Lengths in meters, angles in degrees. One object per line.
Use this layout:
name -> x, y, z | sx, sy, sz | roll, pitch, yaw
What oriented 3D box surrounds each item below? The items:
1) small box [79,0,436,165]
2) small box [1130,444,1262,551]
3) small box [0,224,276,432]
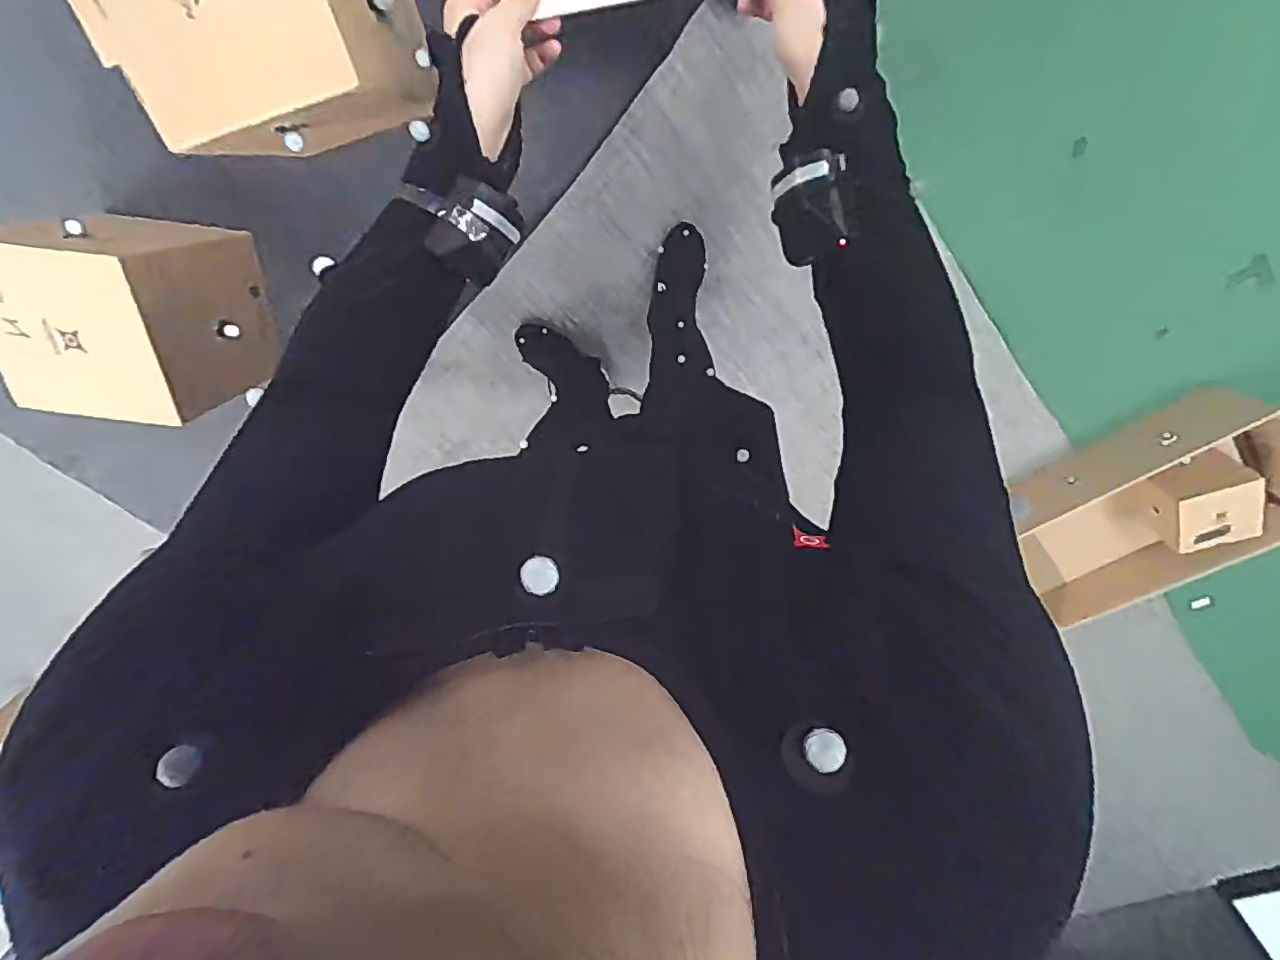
small box -> -0.289, -0.369, 0.431 | 0.179, 0.176, 0.168 | -9, 120, 12
small box -> 1.359, 0.041, 1.336 | 0.168, 0.176, 0.179 | -21, 118, 18
small box -> -0.529, -0.169, 0.576 | 0.179, 0.176, 0.168 | 7, 121, 1
